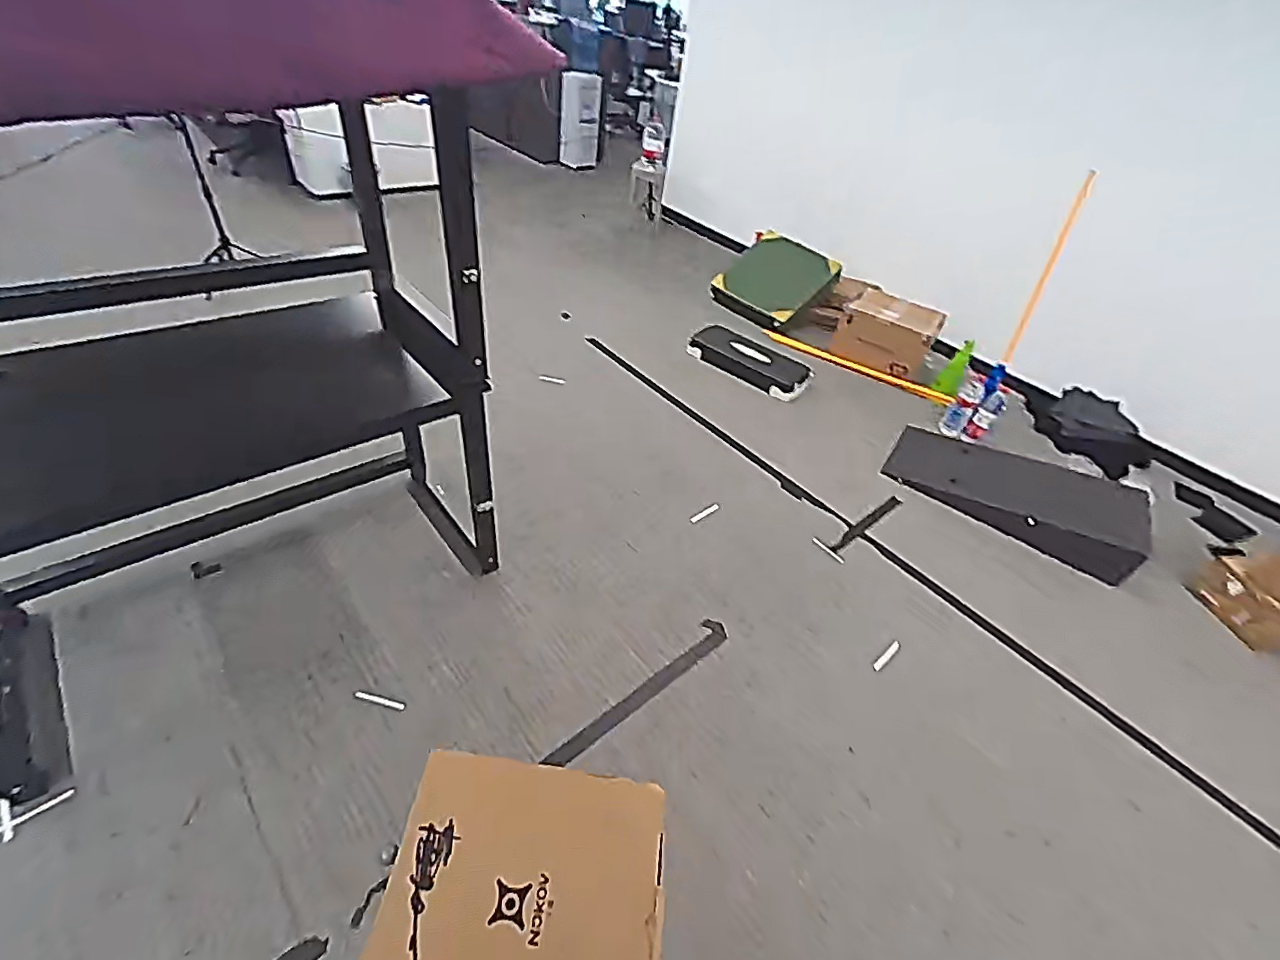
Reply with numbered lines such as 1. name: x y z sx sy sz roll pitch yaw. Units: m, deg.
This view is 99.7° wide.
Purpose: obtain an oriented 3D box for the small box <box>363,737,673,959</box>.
1. small box: -0.086 0.312 0.399 0.179 0.176 0.168 13 48 -4
